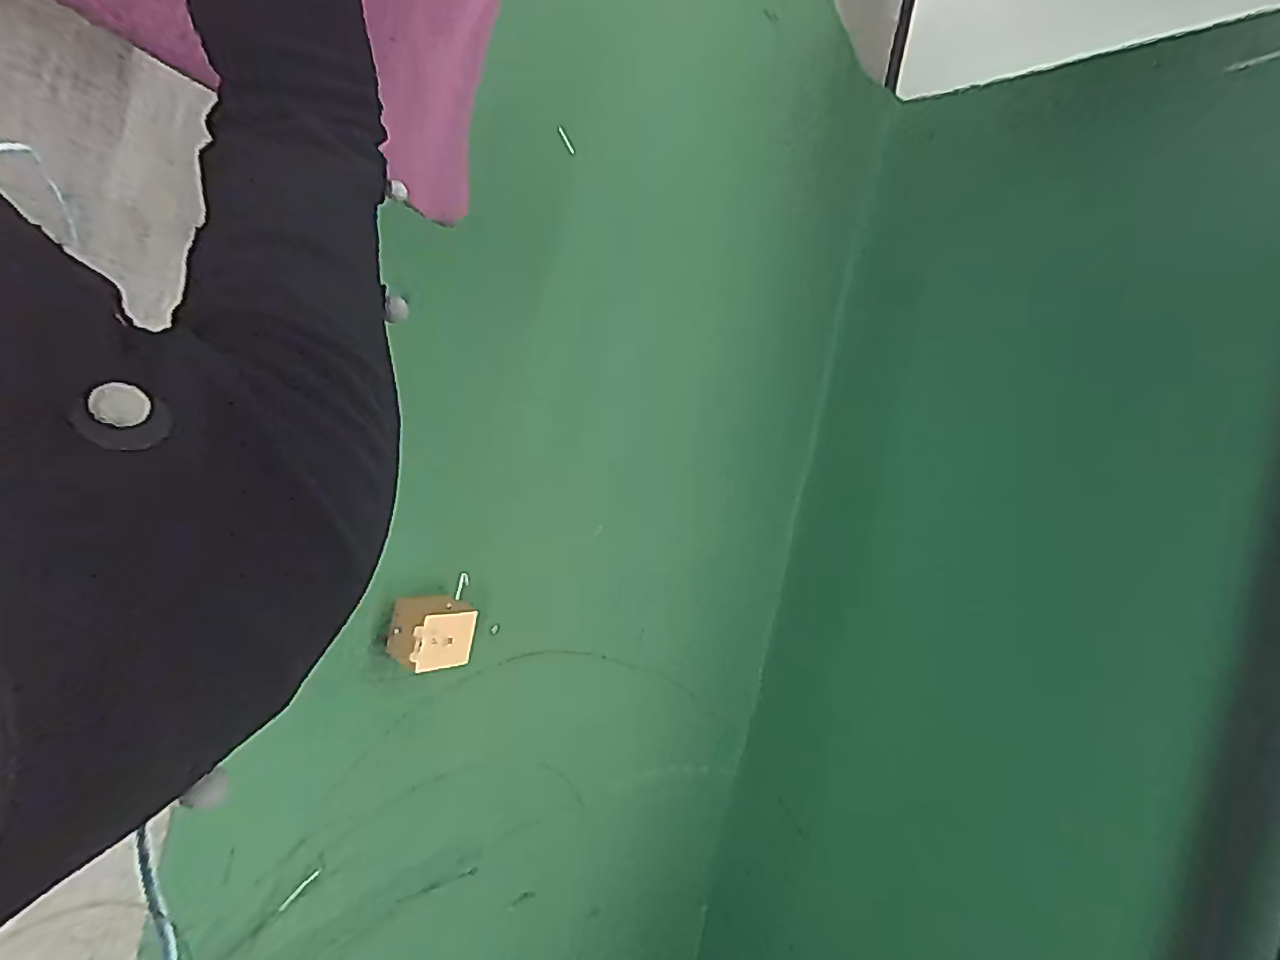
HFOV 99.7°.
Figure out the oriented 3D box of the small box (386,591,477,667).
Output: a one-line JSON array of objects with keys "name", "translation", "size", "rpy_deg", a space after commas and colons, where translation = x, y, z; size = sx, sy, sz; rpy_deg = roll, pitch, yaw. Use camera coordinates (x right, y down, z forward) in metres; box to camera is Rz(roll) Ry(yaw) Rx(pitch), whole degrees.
[{"name": "small box", "translation": [-0.623, 0.435, 1.614], "size": [0.179, 0.176, 0.168], "rpy_deg": [11, 92, -51]}]
